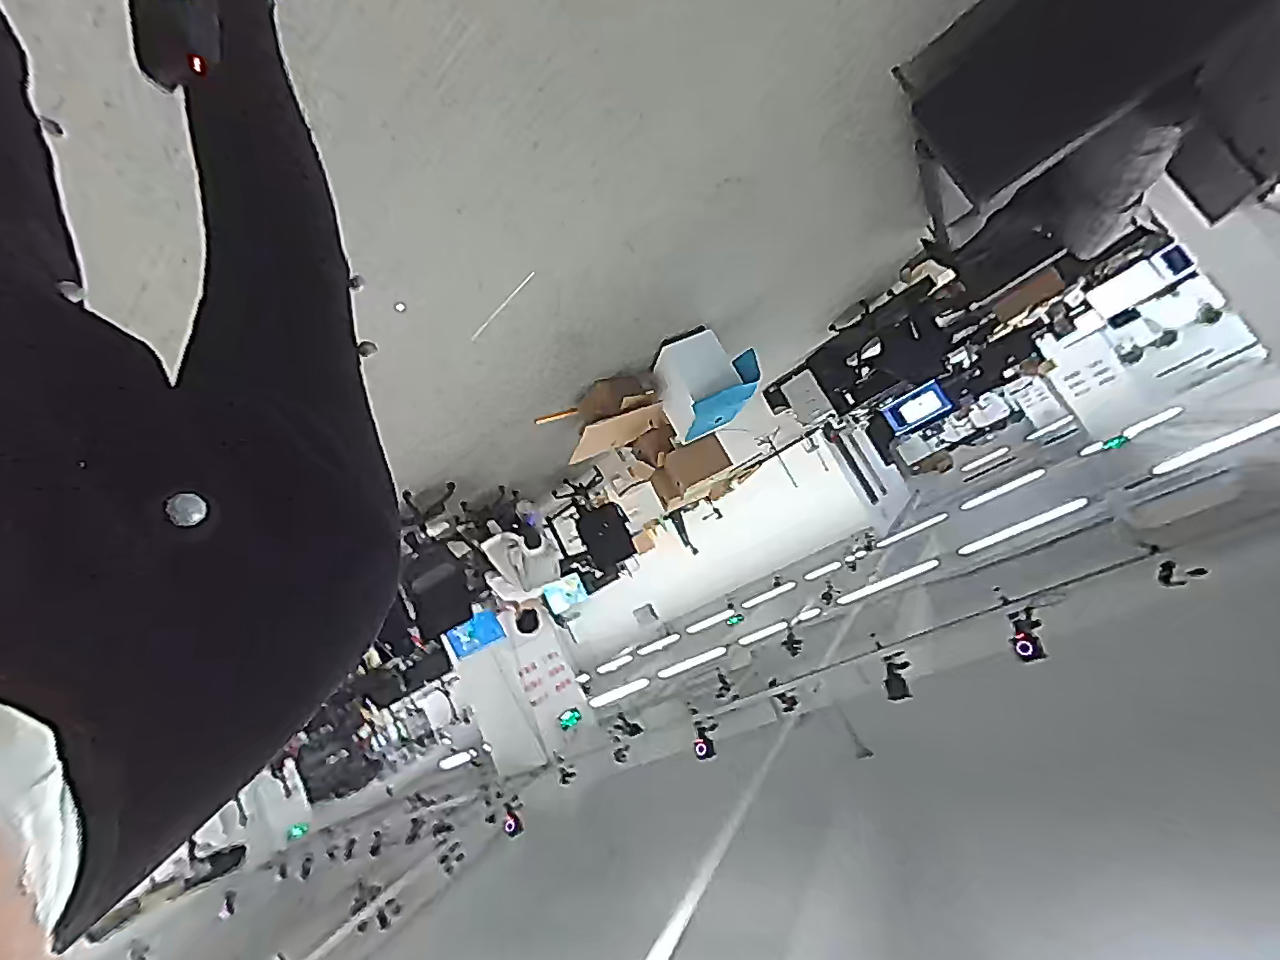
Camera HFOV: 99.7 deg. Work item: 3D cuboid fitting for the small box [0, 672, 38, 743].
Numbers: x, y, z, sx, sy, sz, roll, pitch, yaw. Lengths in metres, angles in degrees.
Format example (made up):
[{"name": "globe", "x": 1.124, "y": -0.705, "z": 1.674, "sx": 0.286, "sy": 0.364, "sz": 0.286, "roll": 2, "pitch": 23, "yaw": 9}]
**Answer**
[{"name": "small box", "x": -1.960, "y": 0.702, "z": 1.628, "sx": 0.179, "sy": 0.176, "sz": 0.168, "roll": -34, "pitch": 168, "yaw": 34}]
